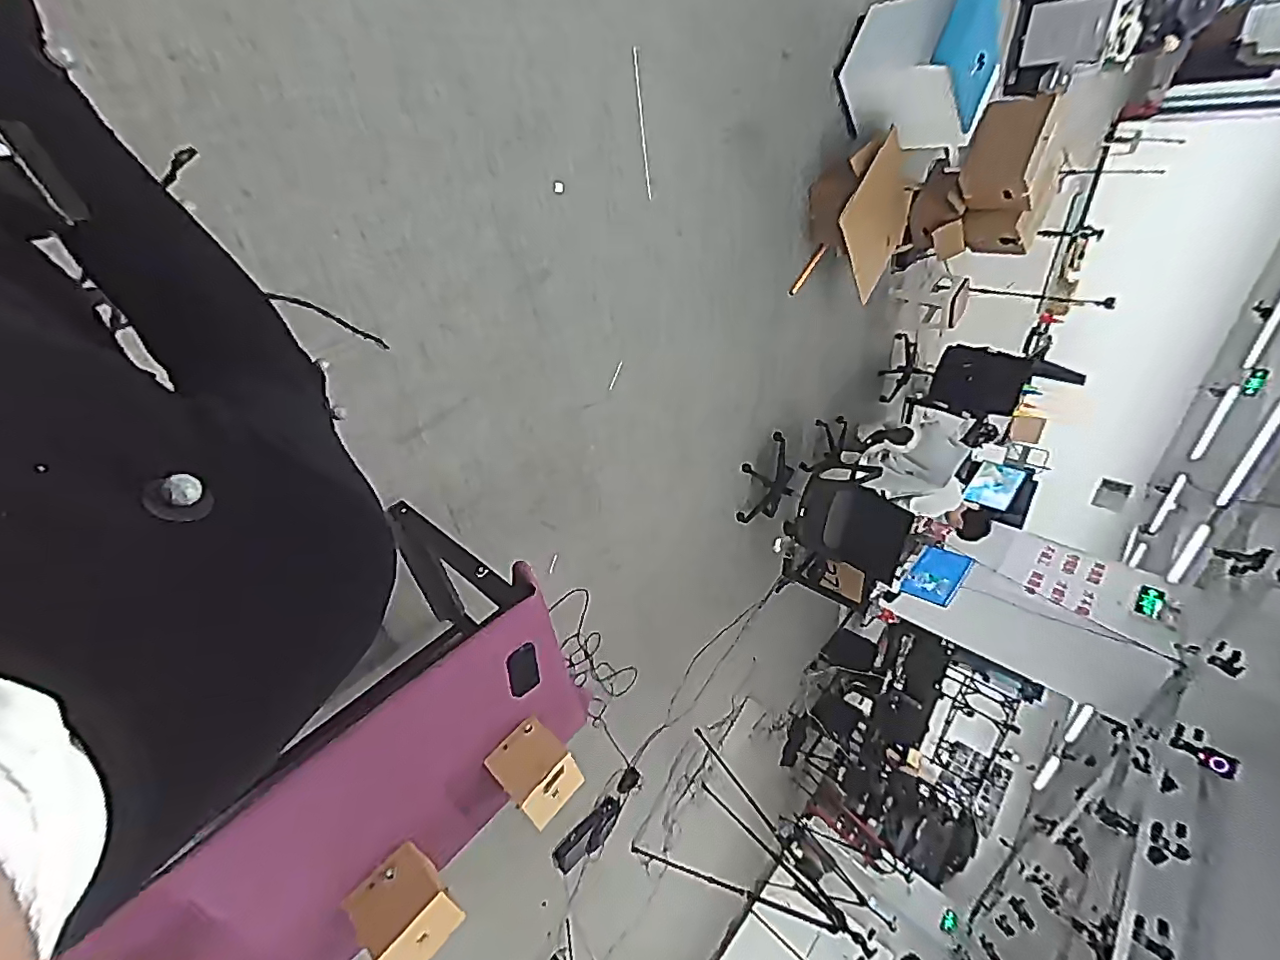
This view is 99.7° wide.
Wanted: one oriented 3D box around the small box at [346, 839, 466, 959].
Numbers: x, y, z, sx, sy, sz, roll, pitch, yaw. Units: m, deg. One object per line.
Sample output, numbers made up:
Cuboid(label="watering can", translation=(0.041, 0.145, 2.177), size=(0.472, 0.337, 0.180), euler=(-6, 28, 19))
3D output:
Cuboid(label="small box", translation=(-0.540, 0.983, 1.251), size=(0.168, 0.176, 0.179), euler=(-38, 135, -32))

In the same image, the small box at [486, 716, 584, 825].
Cuboid(label="small box", translation=(-0.280, 0.763, 1.439), size=(0.168, 0.176, 0.179), euler=(-40, 137, -29))
